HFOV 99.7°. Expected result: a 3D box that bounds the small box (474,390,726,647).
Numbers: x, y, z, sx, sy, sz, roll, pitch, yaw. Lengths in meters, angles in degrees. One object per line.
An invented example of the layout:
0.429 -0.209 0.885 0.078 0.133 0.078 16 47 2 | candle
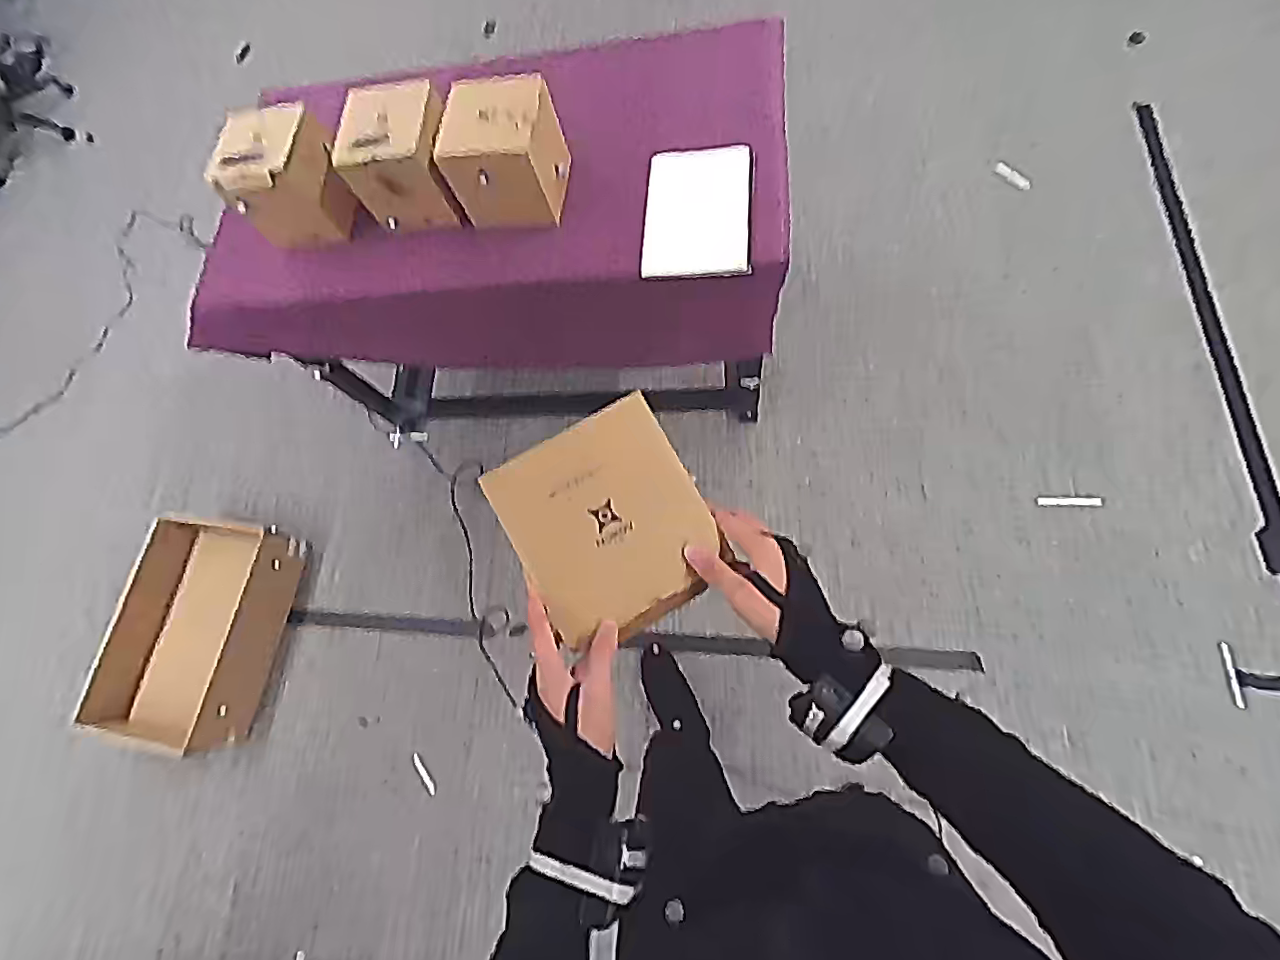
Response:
-0.036 0.039 0.550 0.168 0.176 0.179 -29 84 -5 | small box
